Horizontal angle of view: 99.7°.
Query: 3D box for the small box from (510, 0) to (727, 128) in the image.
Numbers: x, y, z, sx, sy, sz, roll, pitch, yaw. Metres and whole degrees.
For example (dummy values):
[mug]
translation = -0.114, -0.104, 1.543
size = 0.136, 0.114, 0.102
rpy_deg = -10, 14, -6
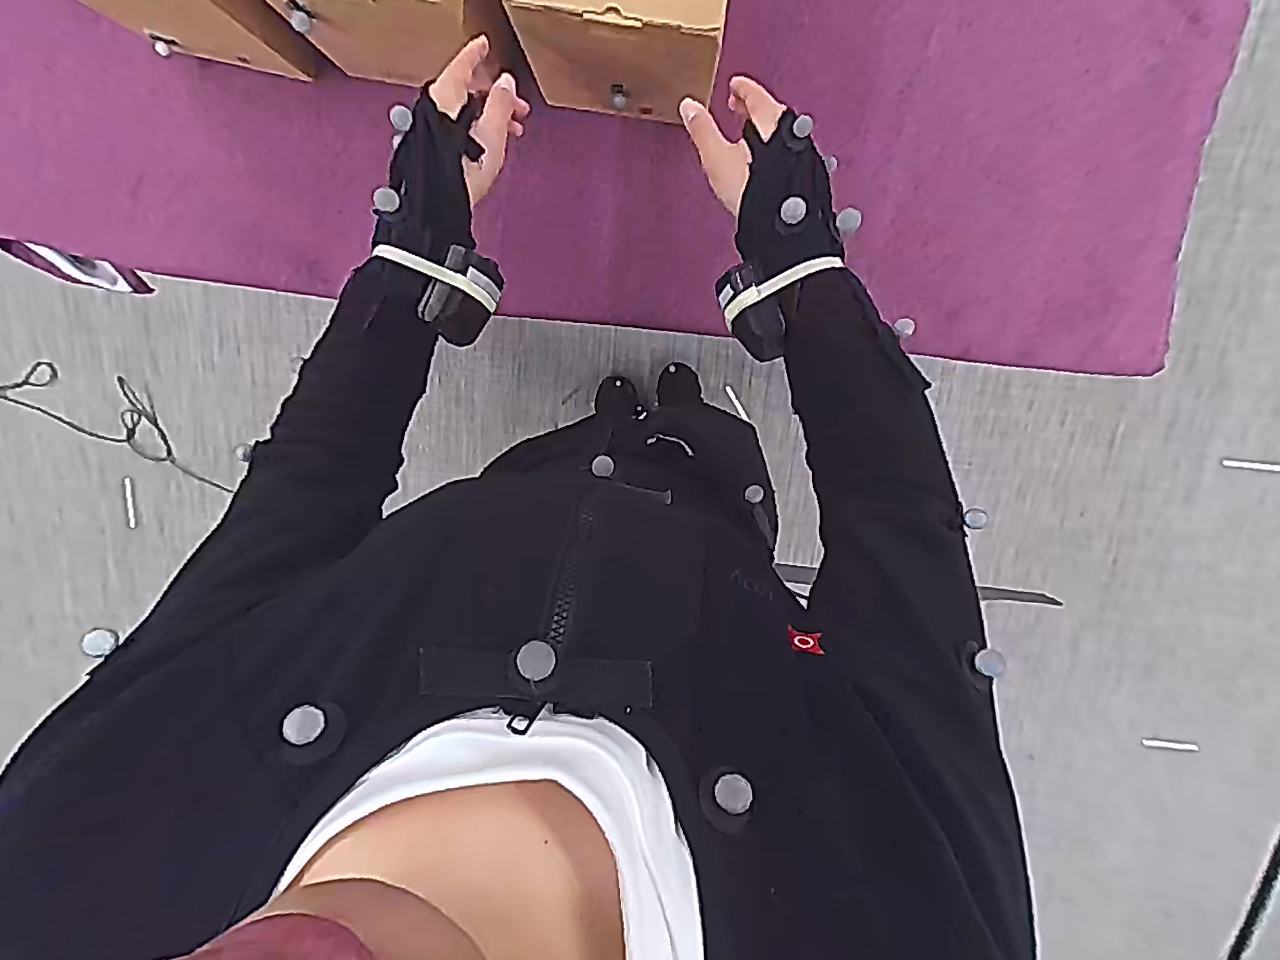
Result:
[small box]
translation = -0.005, -0.438, 0.457
size = 0.168, 0.176, 0.179
rpy_deg = 9, 103, 1
